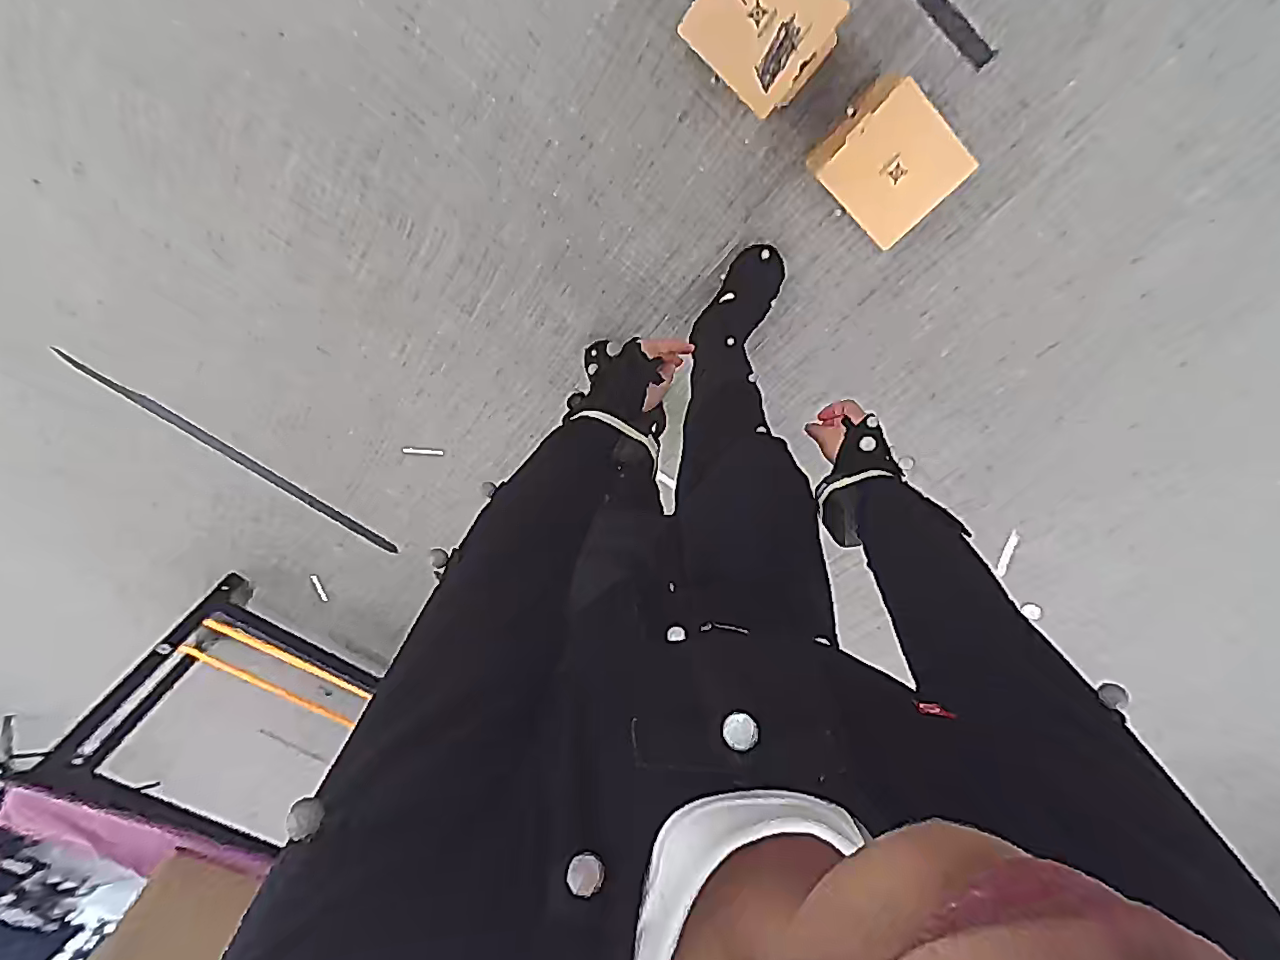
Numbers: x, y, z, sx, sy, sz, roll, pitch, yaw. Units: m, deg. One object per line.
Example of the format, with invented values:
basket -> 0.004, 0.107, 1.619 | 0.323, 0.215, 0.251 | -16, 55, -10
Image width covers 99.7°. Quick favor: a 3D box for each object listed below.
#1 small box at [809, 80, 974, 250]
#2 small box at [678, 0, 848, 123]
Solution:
small box -> 0.403, -0.523, 0.894 | 0.179, 0.176, 0.168 | 38, 125, -16
small box -> 0.183, -0.684, 0.816 | 0.179, 0.176, 0.168 | 37, 124, -15
